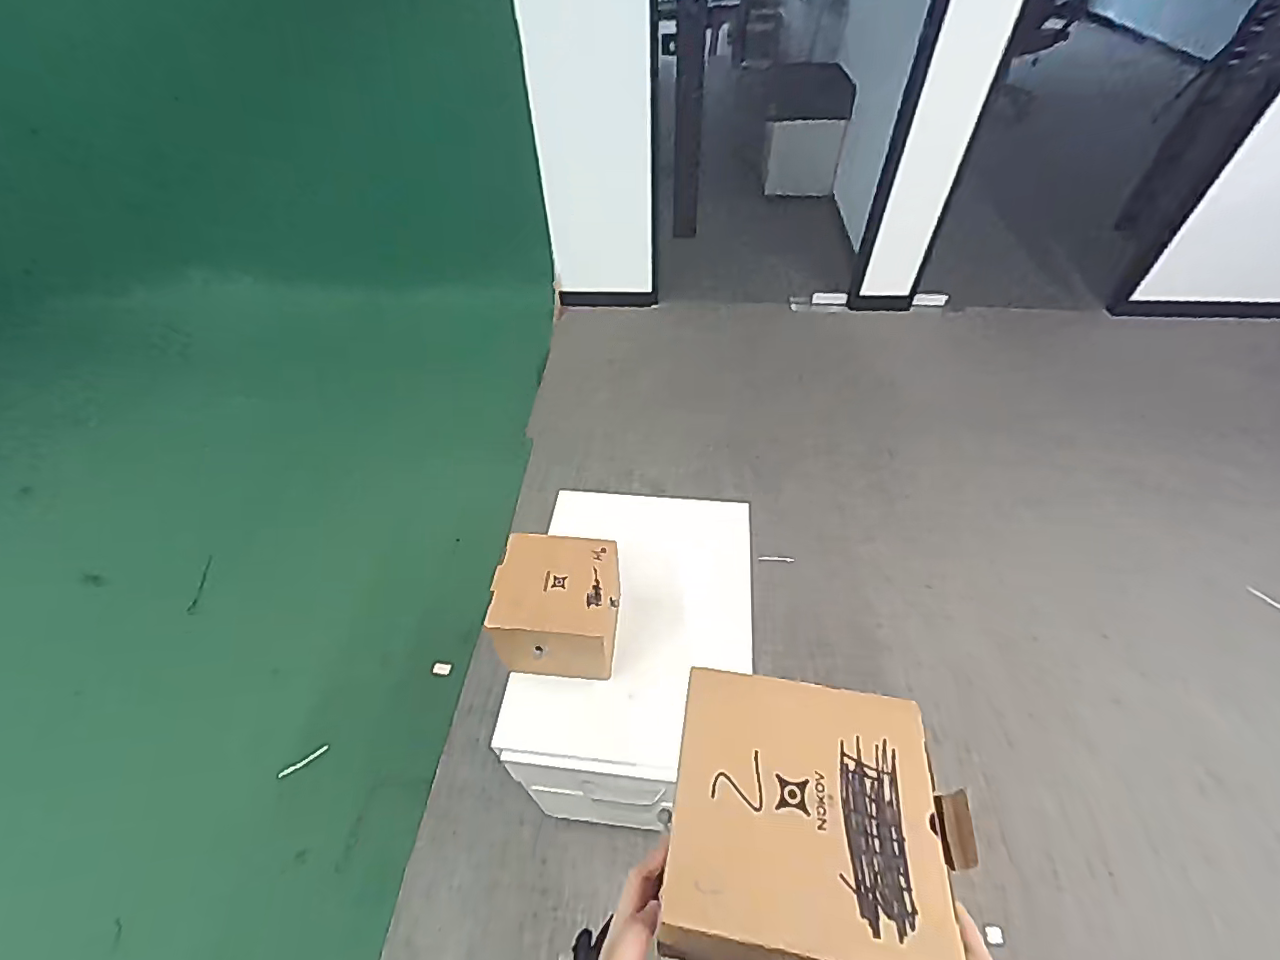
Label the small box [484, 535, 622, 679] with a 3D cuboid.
[{"bbox_3d":[-0.127,0.207,0.871,0.179,0.176,0.168,4,50,4],"label":"small box"}]
